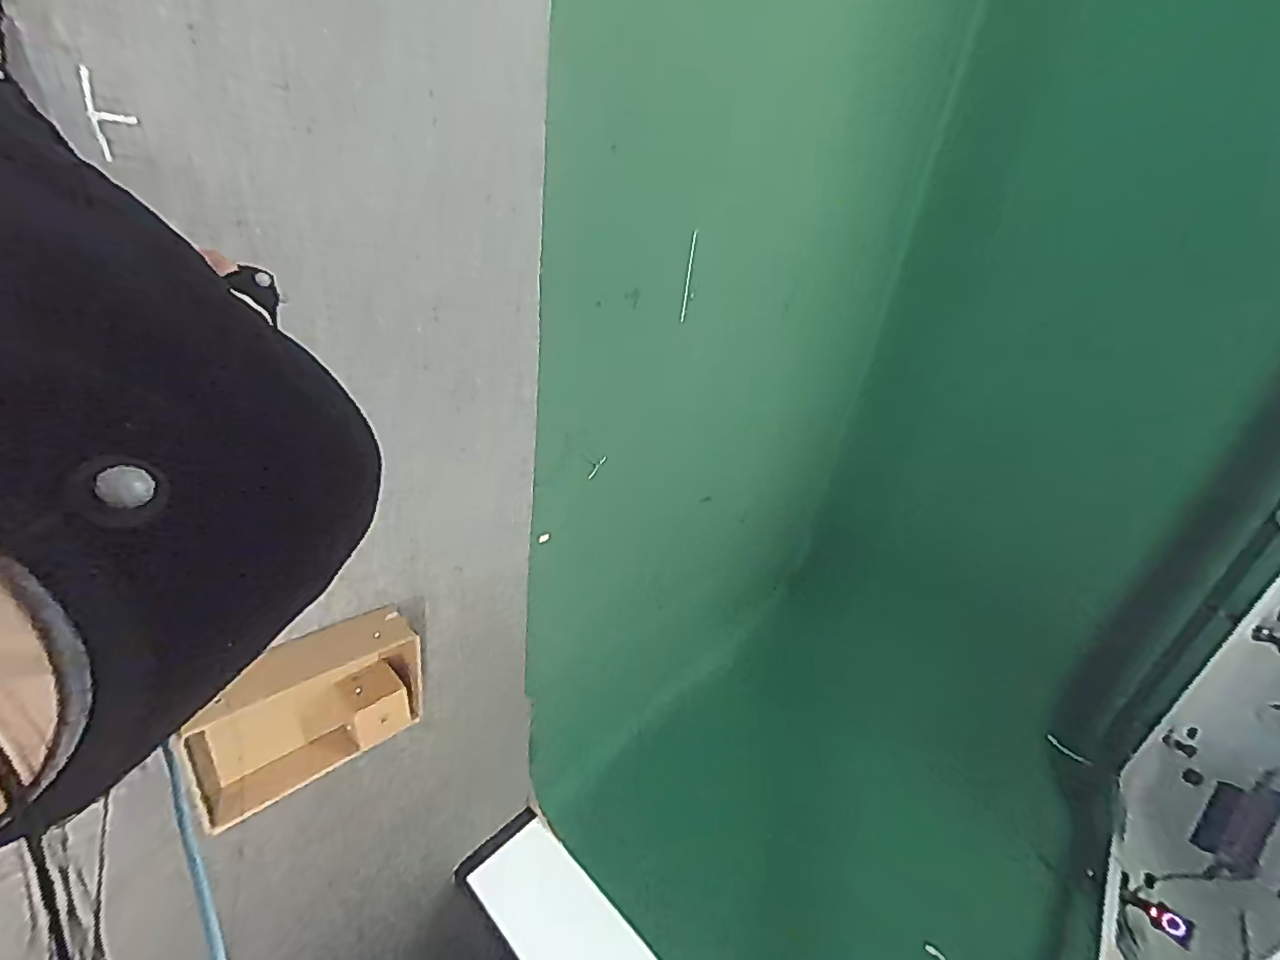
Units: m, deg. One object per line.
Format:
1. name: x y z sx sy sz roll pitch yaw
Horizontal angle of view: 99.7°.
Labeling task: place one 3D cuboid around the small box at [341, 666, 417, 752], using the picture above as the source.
1. small box: -0.863 0.742 1.784 0.168 0.176 0.179 -21 127 -42
